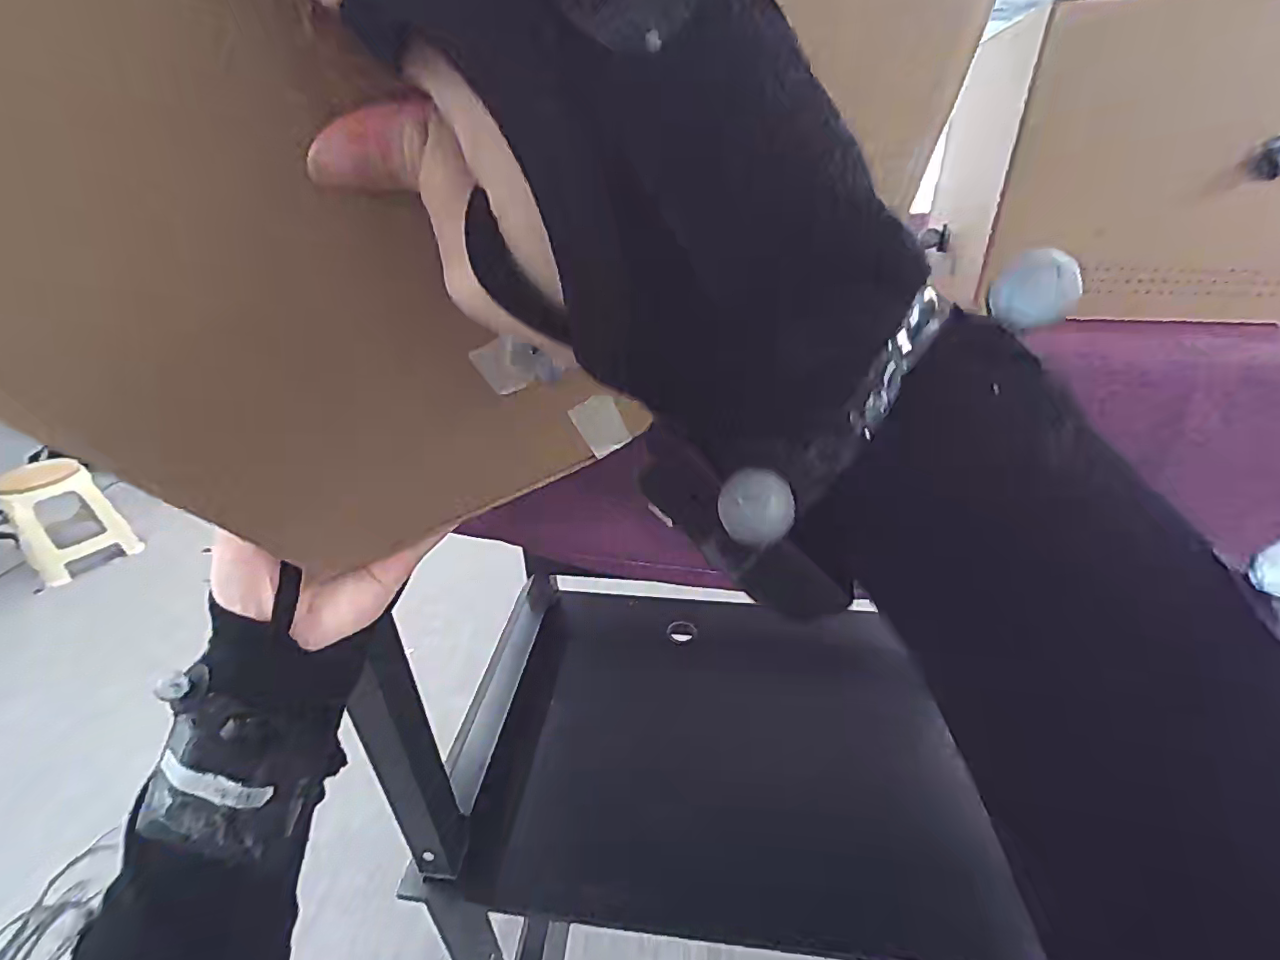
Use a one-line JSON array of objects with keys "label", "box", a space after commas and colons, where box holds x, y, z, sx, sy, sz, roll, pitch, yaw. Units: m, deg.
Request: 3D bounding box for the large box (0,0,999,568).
[{"label": "large box", "box": [-0.106, -0.238, 0.234, 0.320, 0.320, 0.408, -25, 63, -8]}]

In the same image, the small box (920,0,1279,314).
[{"label": "small box", "box": [0.319, -0.215, 0.372, 0.179, 0.176, 0.168, 4, 29, 11]}]
